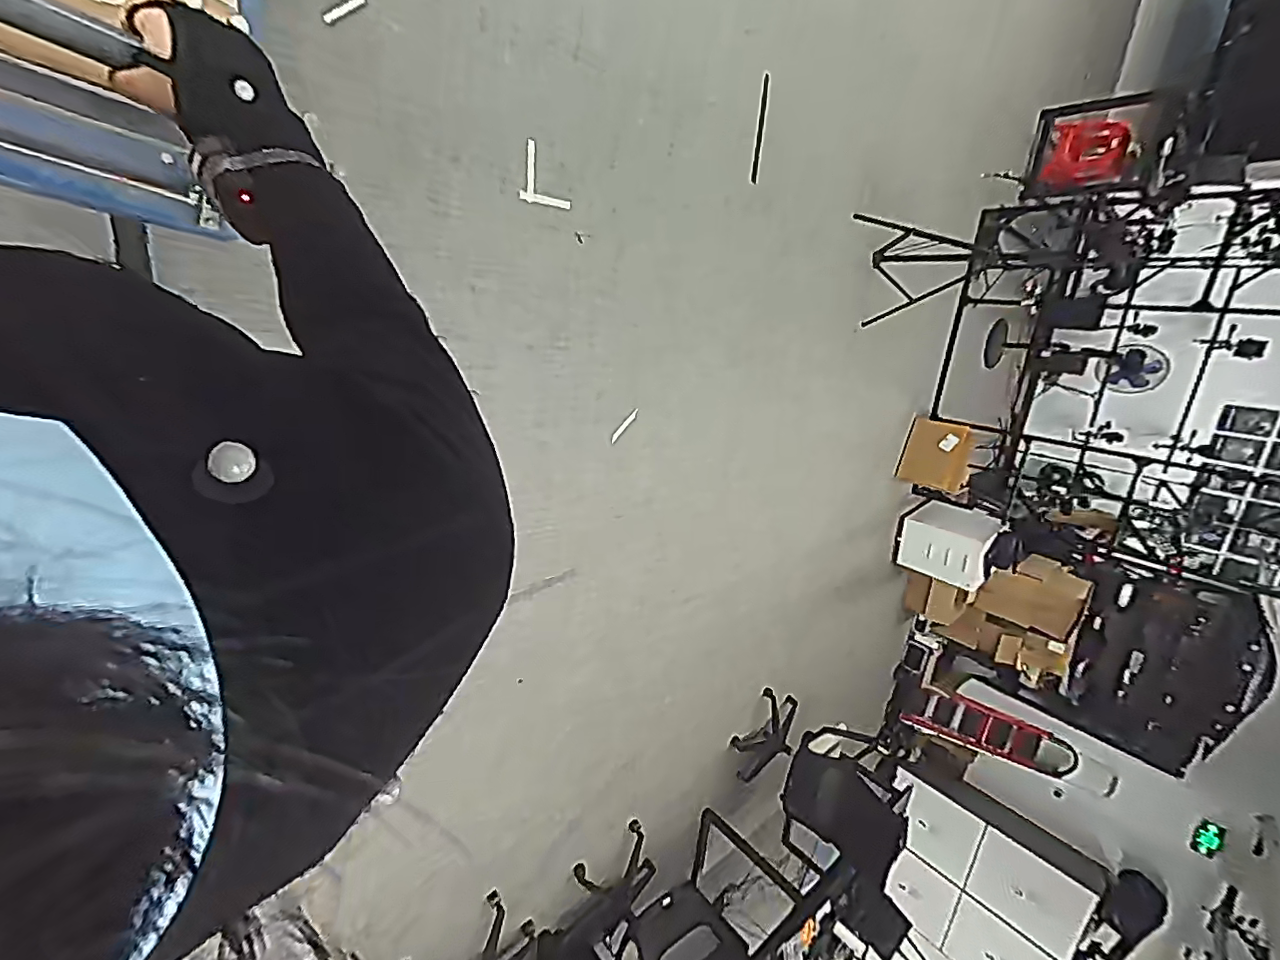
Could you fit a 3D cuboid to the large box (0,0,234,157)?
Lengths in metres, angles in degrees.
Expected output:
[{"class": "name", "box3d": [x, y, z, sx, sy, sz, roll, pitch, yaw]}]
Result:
[{"class": "large box", "box3d": [-0.791, -0.667, 0.685, 0.408, 0.320, 0.320, -3, 108, -45]}]
